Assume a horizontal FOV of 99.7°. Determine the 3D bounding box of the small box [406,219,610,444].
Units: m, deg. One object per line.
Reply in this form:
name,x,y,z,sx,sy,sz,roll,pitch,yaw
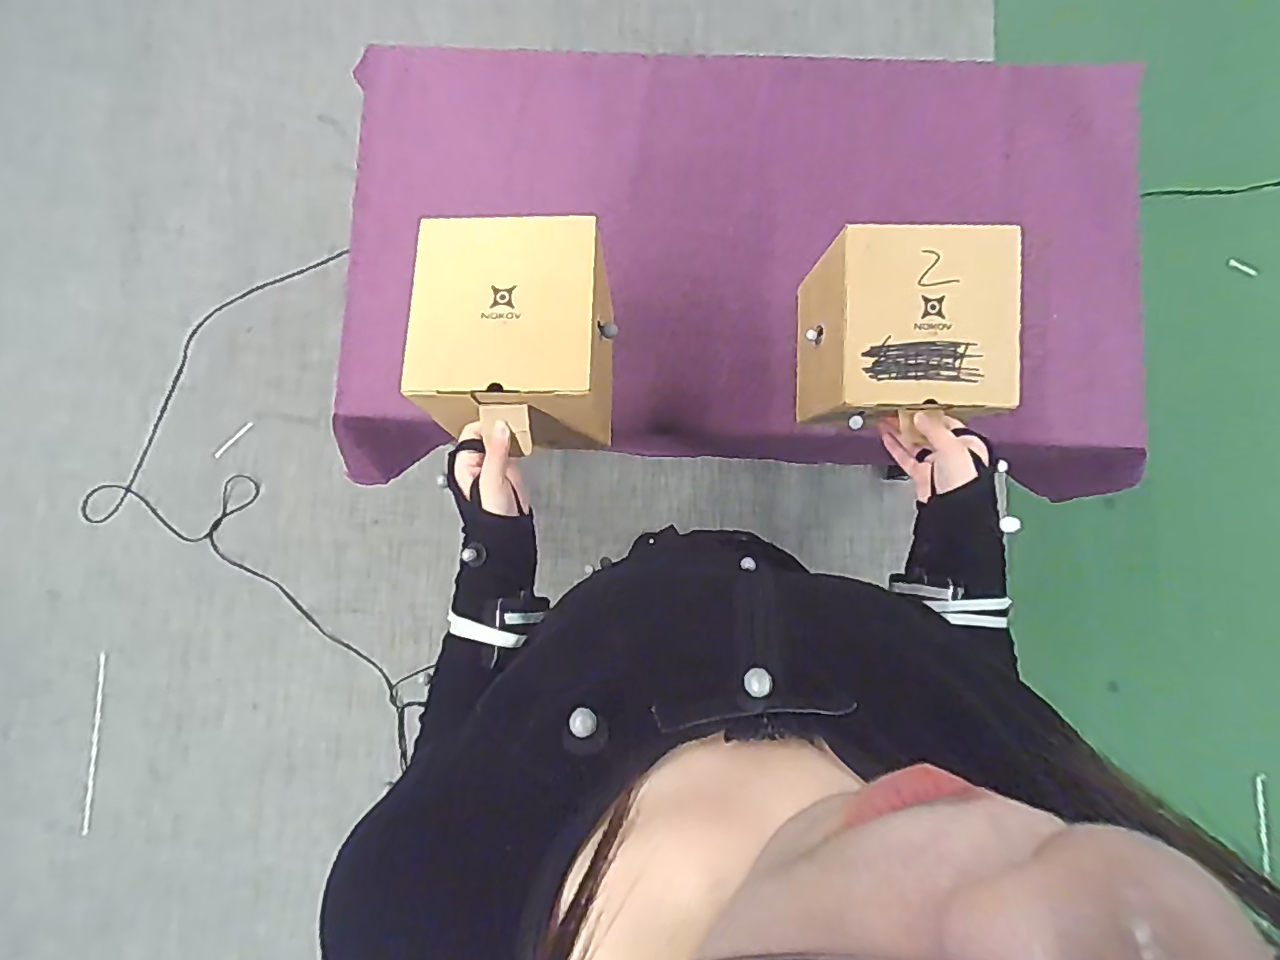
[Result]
small box,-0.122,-0.146,0.573,0.168,0.176,0.179,0,78,2
